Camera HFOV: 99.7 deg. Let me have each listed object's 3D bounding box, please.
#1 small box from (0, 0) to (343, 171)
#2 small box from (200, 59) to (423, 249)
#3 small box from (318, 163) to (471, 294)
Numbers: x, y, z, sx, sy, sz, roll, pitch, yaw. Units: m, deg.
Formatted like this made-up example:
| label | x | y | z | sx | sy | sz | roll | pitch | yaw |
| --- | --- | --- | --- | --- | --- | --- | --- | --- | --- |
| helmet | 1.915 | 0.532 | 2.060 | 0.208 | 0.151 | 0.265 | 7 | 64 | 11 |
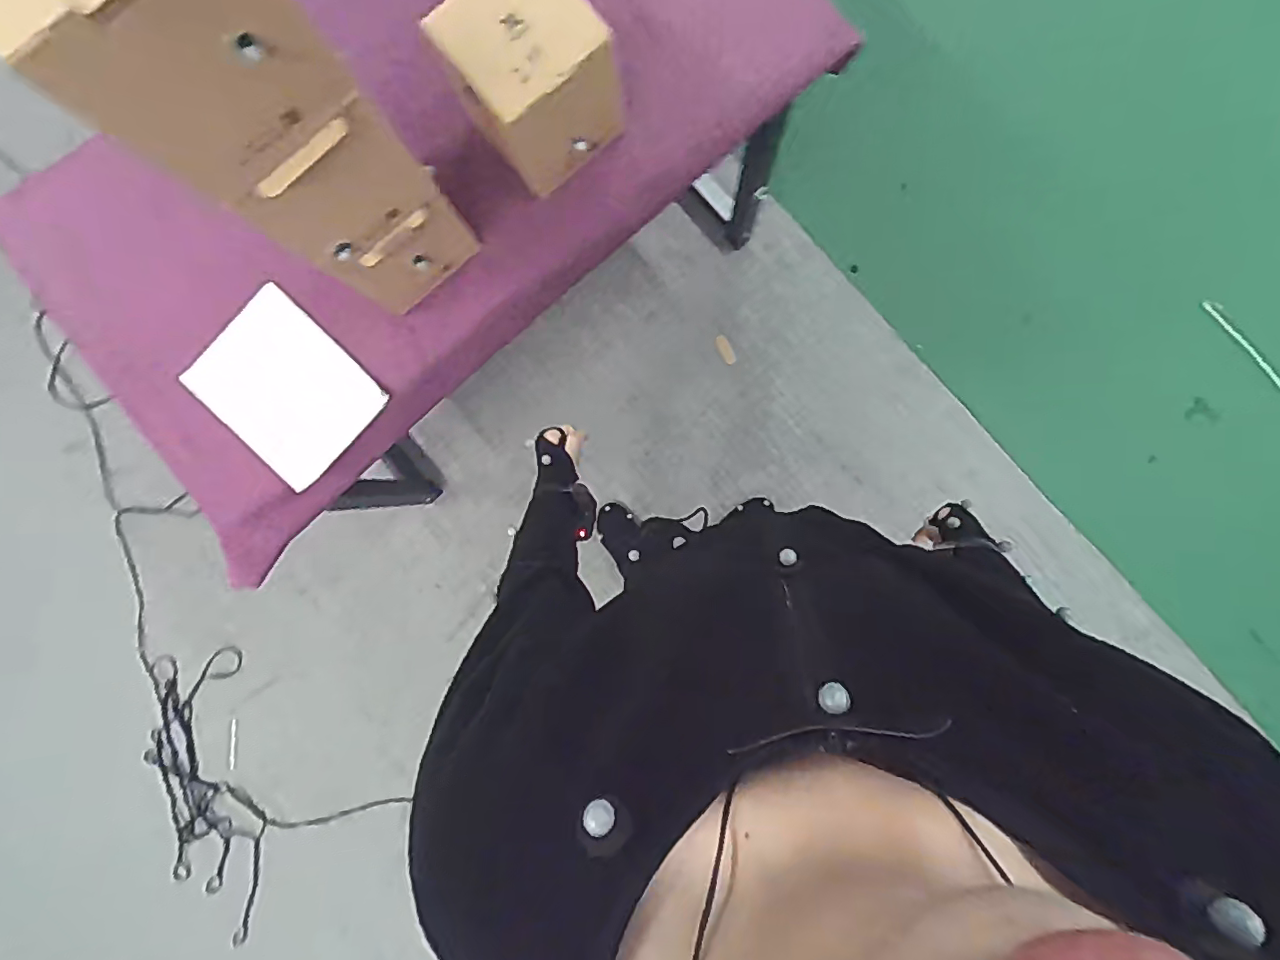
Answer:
| label | x | y | z | sx | sy | sz | roll | pitch | yaw |
| --- | --- | --- | --- | --- | --- | --- | --- | --- | --- |
| small box | -0.374 | -0.374 | 0.408 | 0.168 | 0.176 | 0.179 | -39 | 87 | 1 |
| small box | -0.369 | -0.376 | 0.572 | 0.168 | 0.176 | 0.179 | -39 | 87 | 2 |
| small box | -0.364 | -0.380 | 0.736 | 0.168 | 0.176 | 0.179 | -39 | 88 | 2 |
